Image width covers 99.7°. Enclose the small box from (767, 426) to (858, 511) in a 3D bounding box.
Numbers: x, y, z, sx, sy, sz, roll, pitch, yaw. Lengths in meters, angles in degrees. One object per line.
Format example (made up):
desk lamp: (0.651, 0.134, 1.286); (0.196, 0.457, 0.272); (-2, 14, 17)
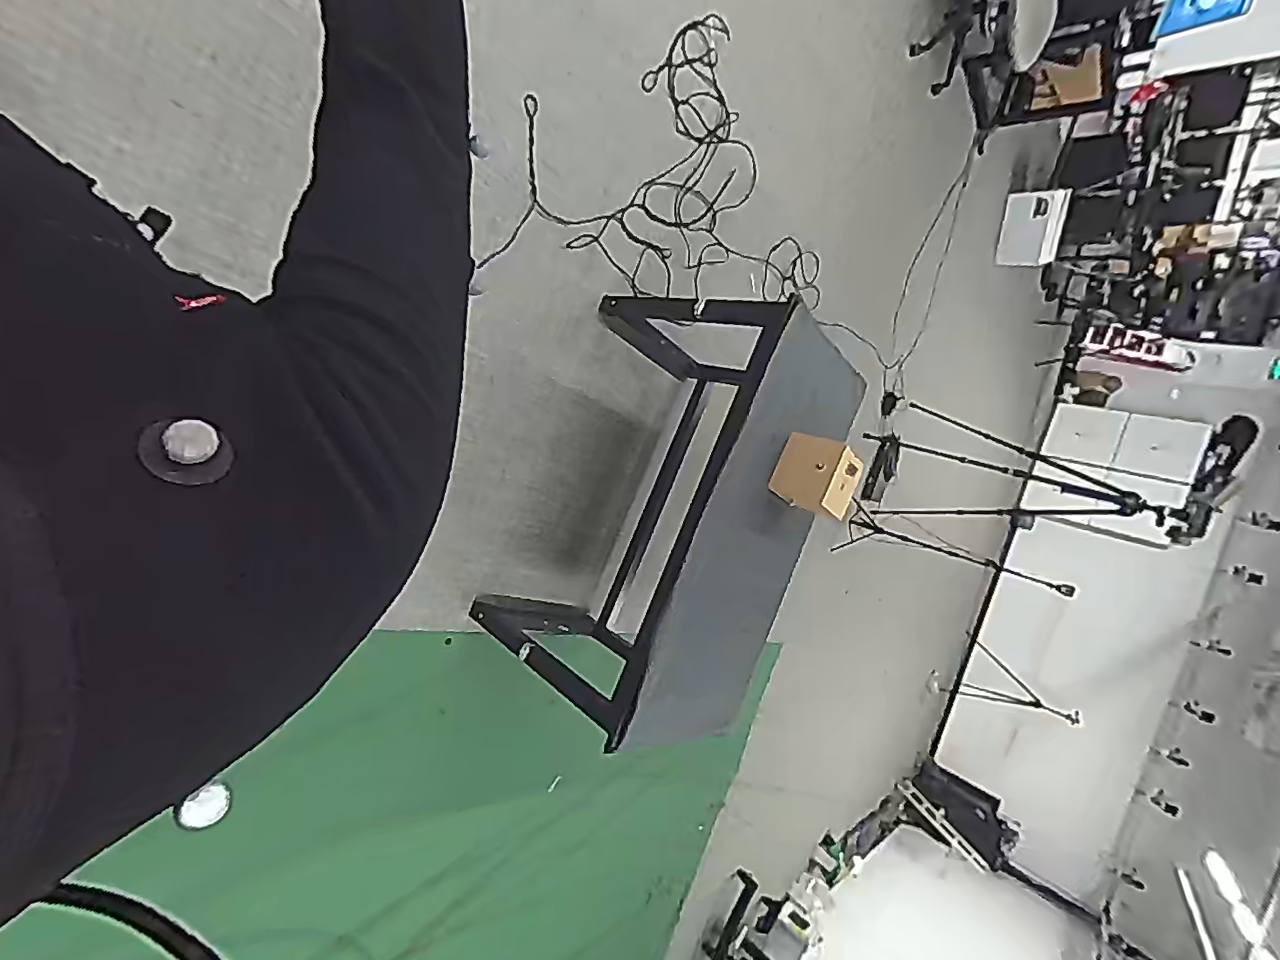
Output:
small box: (0.485, -0.036, 1.525); (0.168, 0.176, 0.179); (28, 85, -48)
